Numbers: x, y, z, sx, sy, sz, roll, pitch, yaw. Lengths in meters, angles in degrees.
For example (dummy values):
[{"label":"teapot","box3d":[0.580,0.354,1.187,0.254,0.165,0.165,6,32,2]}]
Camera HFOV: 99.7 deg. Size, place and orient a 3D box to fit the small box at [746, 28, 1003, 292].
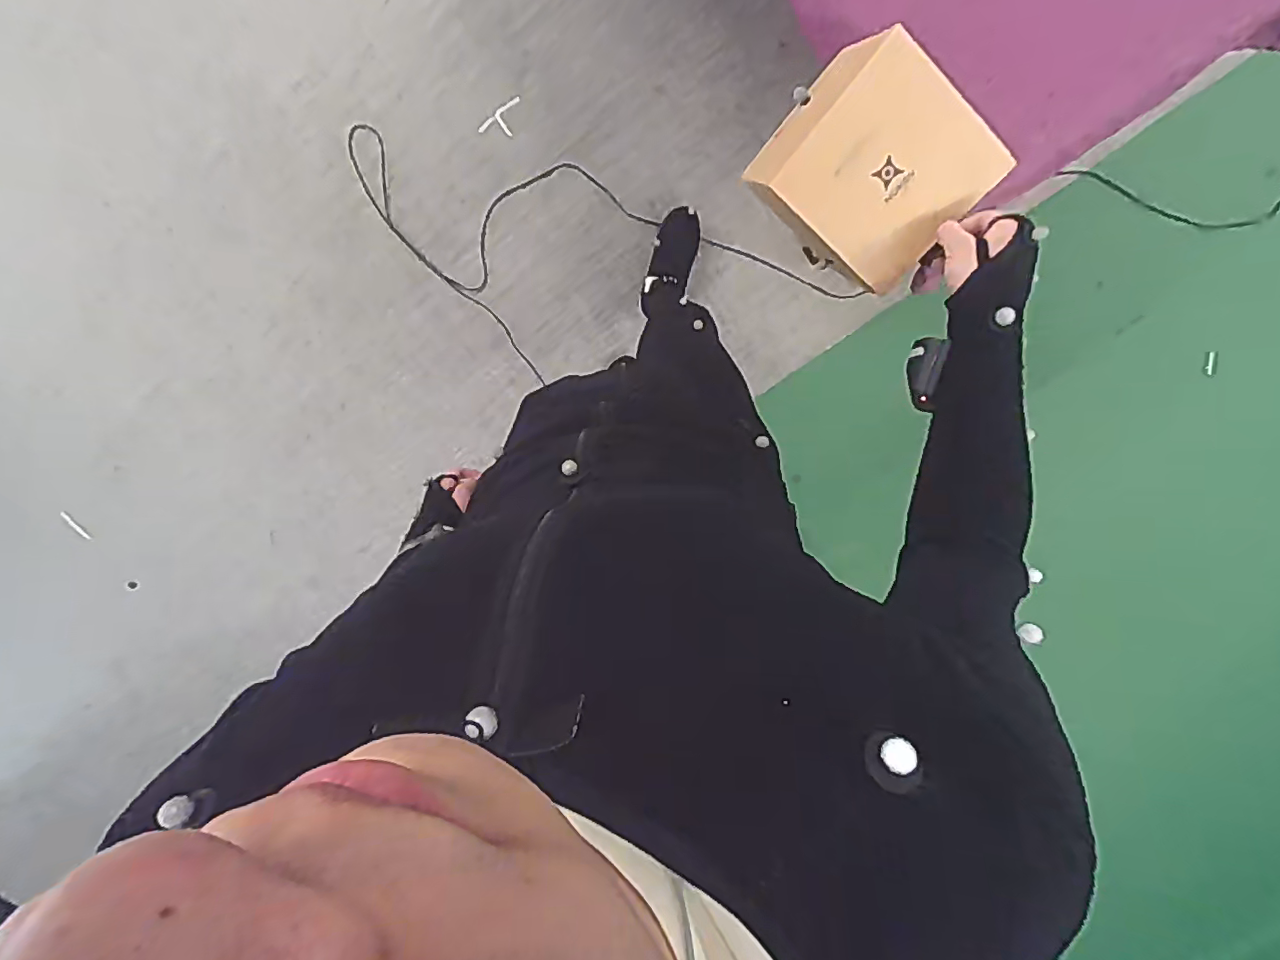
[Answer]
[{"label":"small box","box3d":[0.245,-0.348,0.607,0.179,0.176,0.168,34,115,-20]}]
